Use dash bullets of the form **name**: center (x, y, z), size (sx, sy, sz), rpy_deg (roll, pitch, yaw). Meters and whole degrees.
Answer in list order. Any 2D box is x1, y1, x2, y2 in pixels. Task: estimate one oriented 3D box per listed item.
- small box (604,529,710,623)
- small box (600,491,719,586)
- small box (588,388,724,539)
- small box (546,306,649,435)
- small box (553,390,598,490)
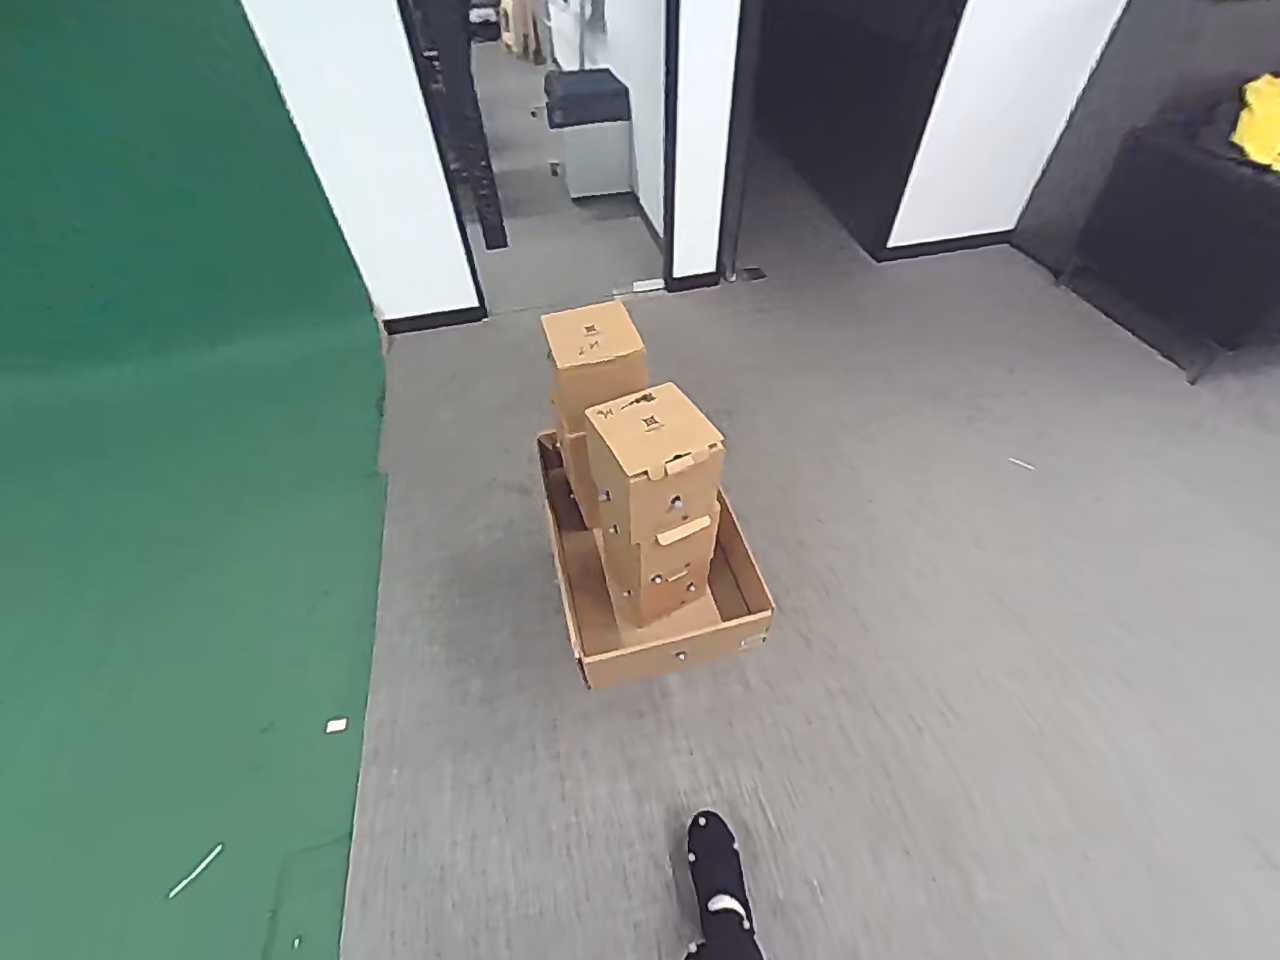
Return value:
- **small box**: center (0.035, 0.186, 1.171), size (0.168, 0.176, 0.179), rpy_deg (-22, 52, -17)
- **small box**: center (0.035, 0.081, 1.046), size (0.168, 0.176, 0.179), rpy_deg (-22, 51, -18)
- **small box**: center (0.023, -0.022, 0.918), size (0.168, 0.176, 0.179), rpy_deg (-19, 52, -17)
- **small box**: center (-0.083, -0.220, 1.086), size (0.168, 0.176, 0.179), rpy_deg (-15, 52, -9)
- **small box**: center (-0.082, -0.104, 1.205), size (0.179, 0.176, 0.168), rpy_deg (-16, 51, -10)
